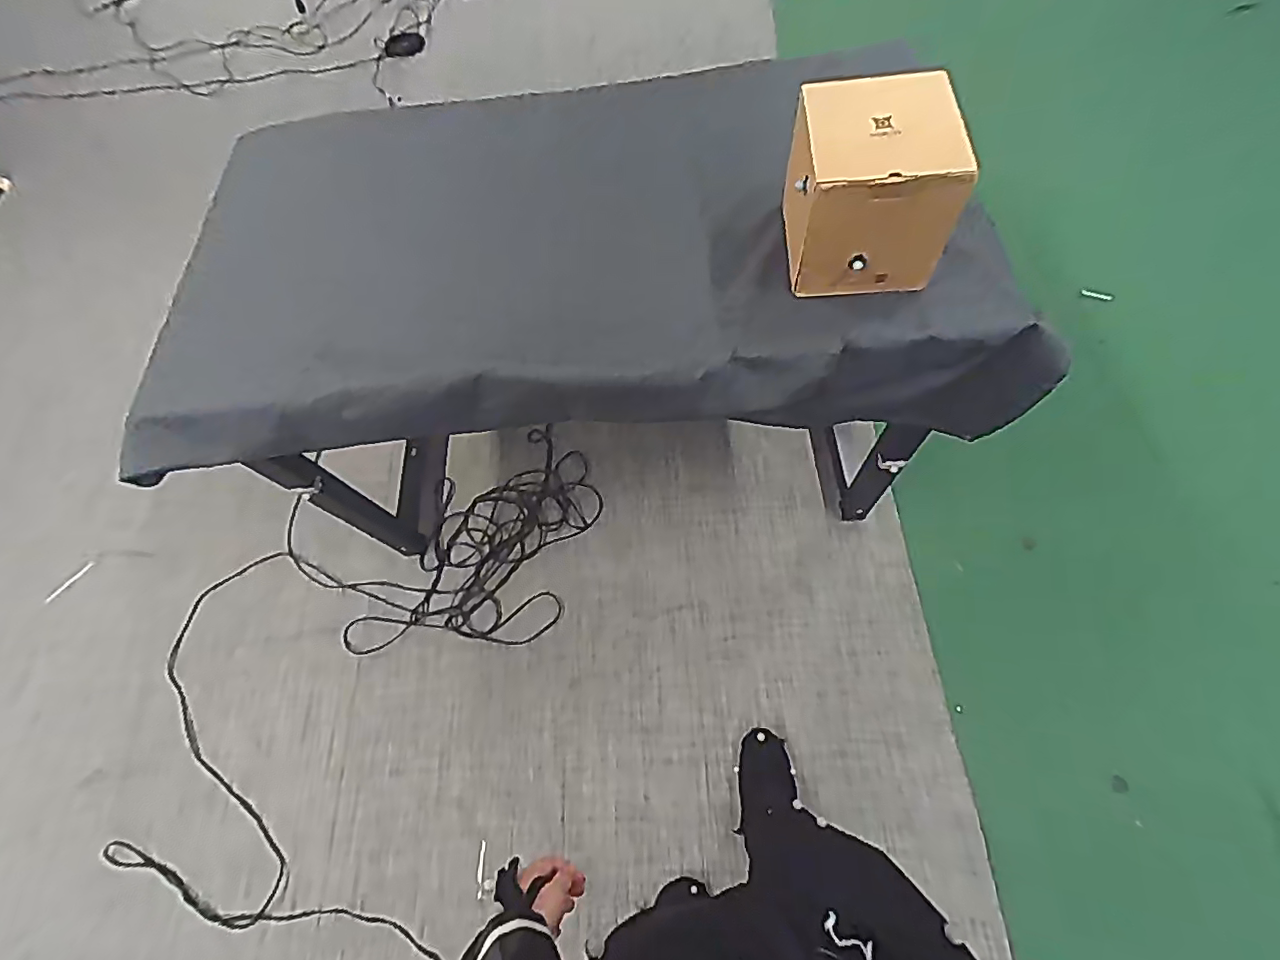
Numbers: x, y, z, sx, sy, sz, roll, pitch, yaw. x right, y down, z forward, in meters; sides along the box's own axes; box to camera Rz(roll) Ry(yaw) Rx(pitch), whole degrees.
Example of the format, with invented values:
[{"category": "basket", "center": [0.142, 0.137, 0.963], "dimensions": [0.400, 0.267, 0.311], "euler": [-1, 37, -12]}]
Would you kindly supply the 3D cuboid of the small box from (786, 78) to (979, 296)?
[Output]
[{"category": "small box", "center": [0.281, -0.356, 0.673], "dimensions": [0.168, 0.176, 0.179], "euler": [-1, 65, 6]}]
